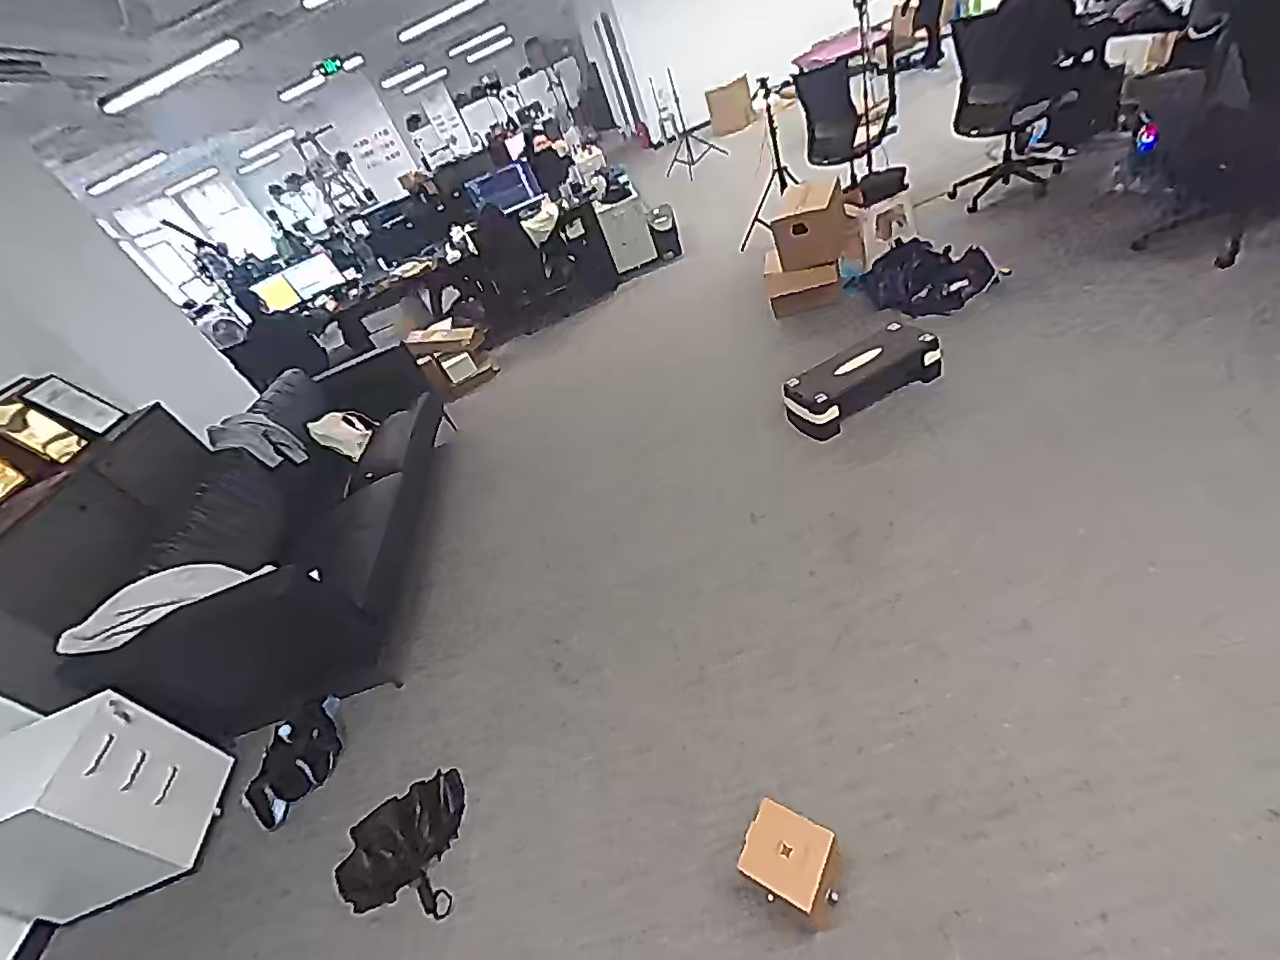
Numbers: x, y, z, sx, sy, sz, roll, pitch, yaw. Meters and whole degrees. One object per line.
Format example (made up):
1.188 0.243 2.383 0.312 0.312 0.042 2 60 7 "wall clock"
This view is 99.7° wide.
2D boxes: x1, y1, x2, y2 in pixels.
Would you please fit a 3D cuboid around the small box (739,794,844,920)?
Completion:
0.360 0.884 1.267 0.179 0.176 0.168 9 50 37 "small box"
